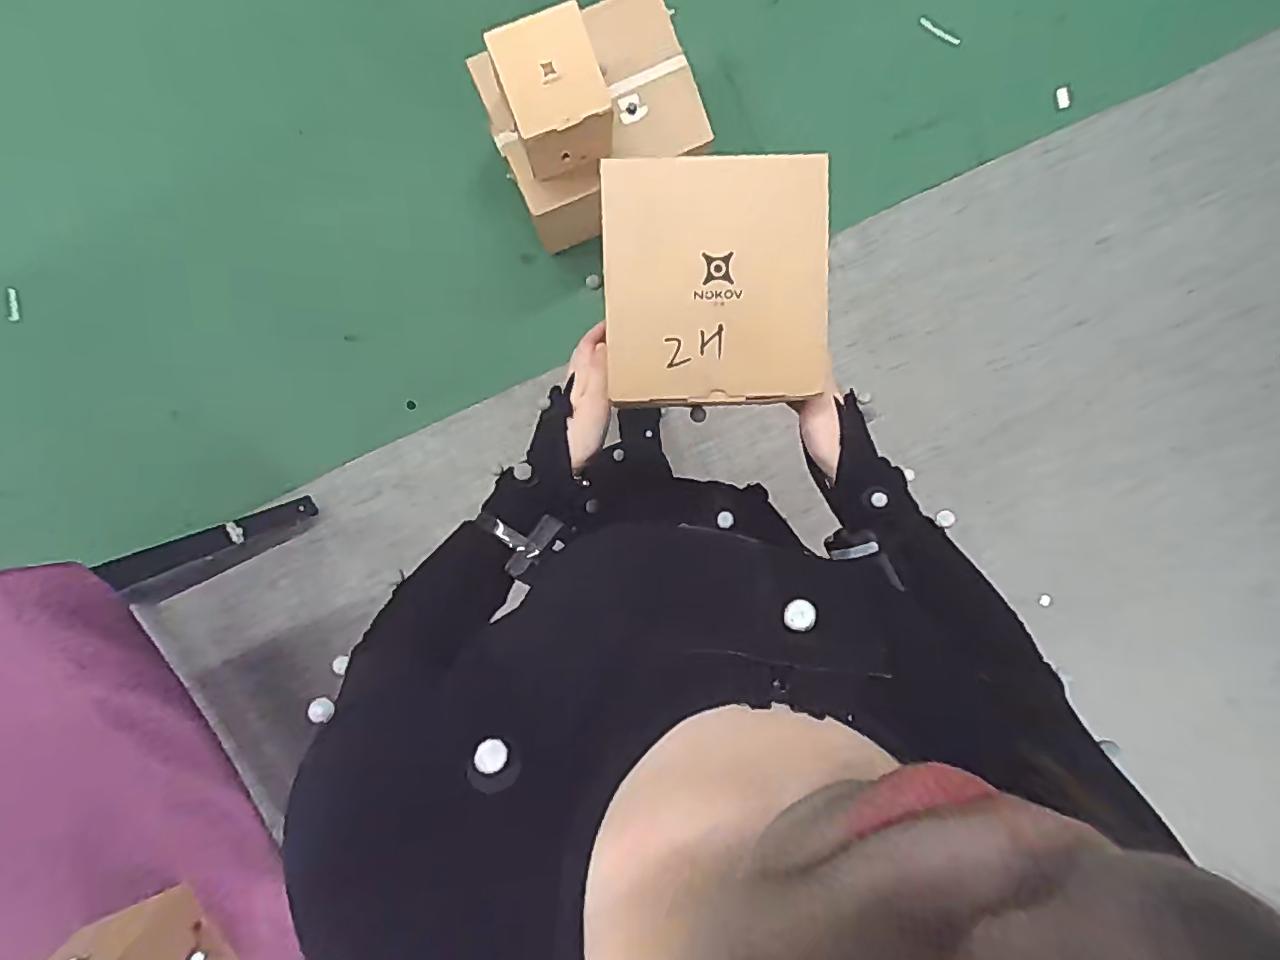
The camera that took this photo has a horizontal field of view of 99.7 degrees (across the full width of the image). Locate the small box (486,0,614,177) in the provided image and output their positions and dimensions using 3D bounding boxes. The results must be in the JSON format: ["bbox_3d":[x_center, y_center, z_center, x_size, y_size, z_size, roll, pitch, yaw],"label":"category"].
[{"bbox_3d":[-0.155,-0.686,0.969,0.168,0.176,0.179,-21,100,-1],"label":"small box"}]

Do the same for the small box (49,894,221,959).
[{"bbox_3d":[-0.716,0.713,0.717,0.179,0.176,0.168,-24,99,0],"label":"small box"}]

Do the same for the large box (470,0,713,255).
[{"bbox_3d":[-0.101,-0.765,1.207,0.408,0.320,0.320,-23,100,-1],"label":"large box"}]
